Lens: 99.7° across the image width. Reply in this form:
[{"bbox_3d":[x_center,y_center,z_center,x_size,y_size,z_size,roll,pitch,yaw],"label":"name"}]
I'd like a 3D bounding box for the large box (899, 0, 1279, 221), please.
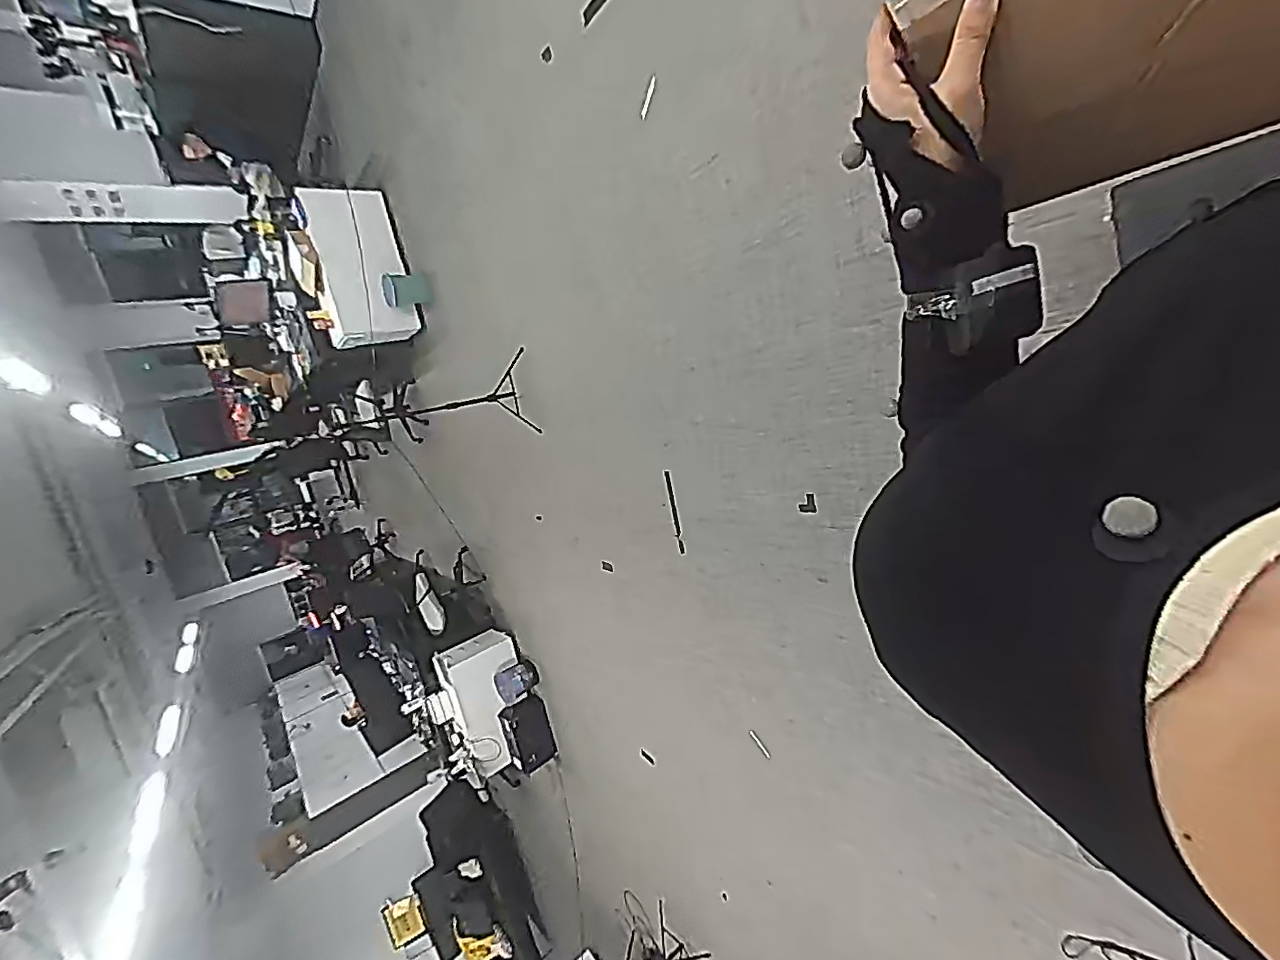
[{"bbox_3d":[0.361,-0.412,0.249,0.408,0.320,0.320,-2,140,51],"label":"large box"}]
